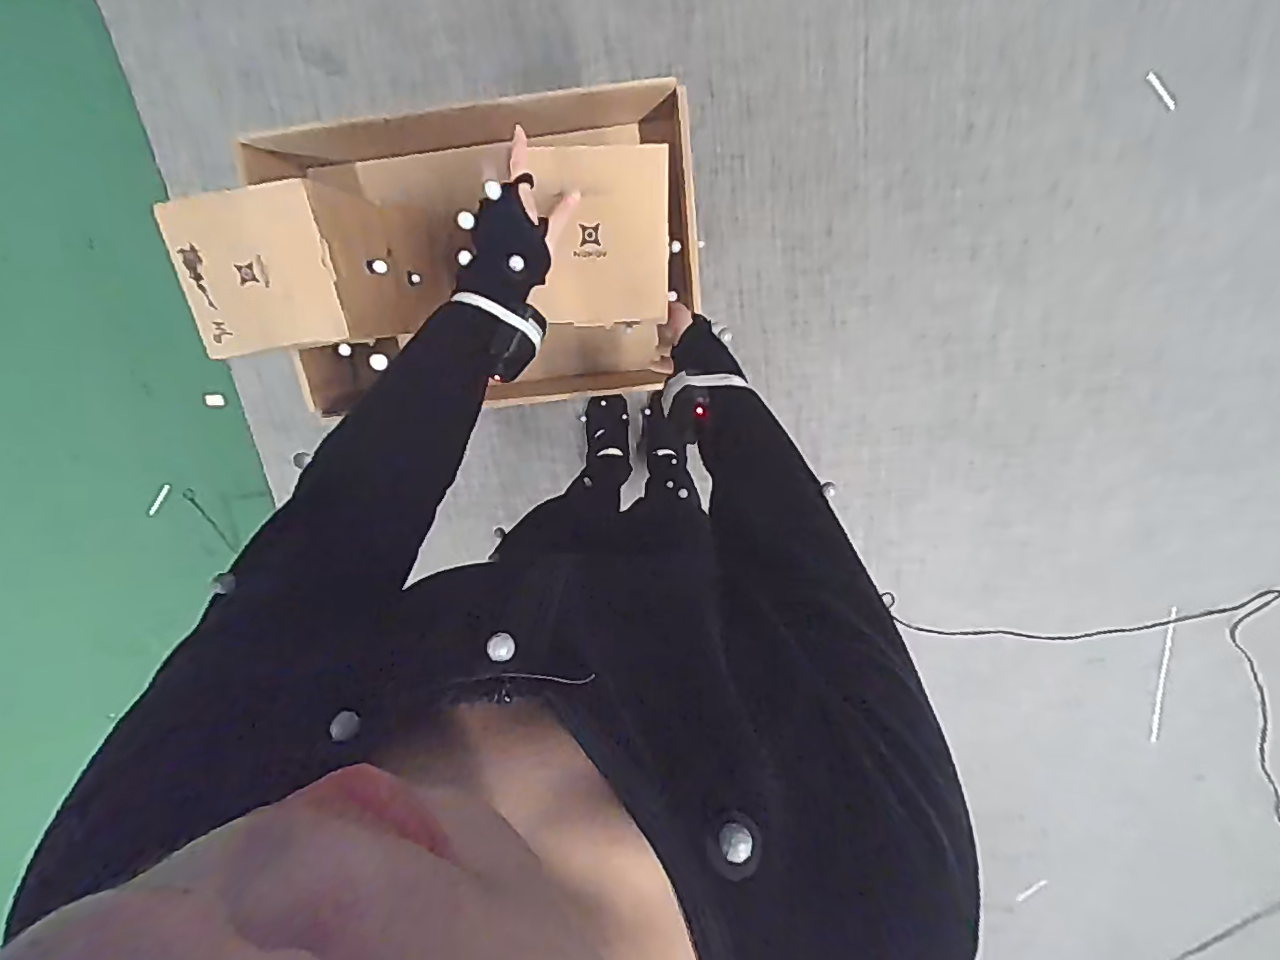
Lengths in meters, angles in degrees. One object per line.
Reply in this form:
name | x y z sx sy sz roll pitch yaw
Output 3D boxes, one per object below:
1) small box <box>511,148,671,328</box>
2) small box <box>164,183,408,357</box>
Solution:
small box | -0.047 -0.275 0.646 0.168 0.176 0.179 0 107 2
small box | -0.412 -0.252 0.672 0.179 0.176 0.168 -6 107 4
